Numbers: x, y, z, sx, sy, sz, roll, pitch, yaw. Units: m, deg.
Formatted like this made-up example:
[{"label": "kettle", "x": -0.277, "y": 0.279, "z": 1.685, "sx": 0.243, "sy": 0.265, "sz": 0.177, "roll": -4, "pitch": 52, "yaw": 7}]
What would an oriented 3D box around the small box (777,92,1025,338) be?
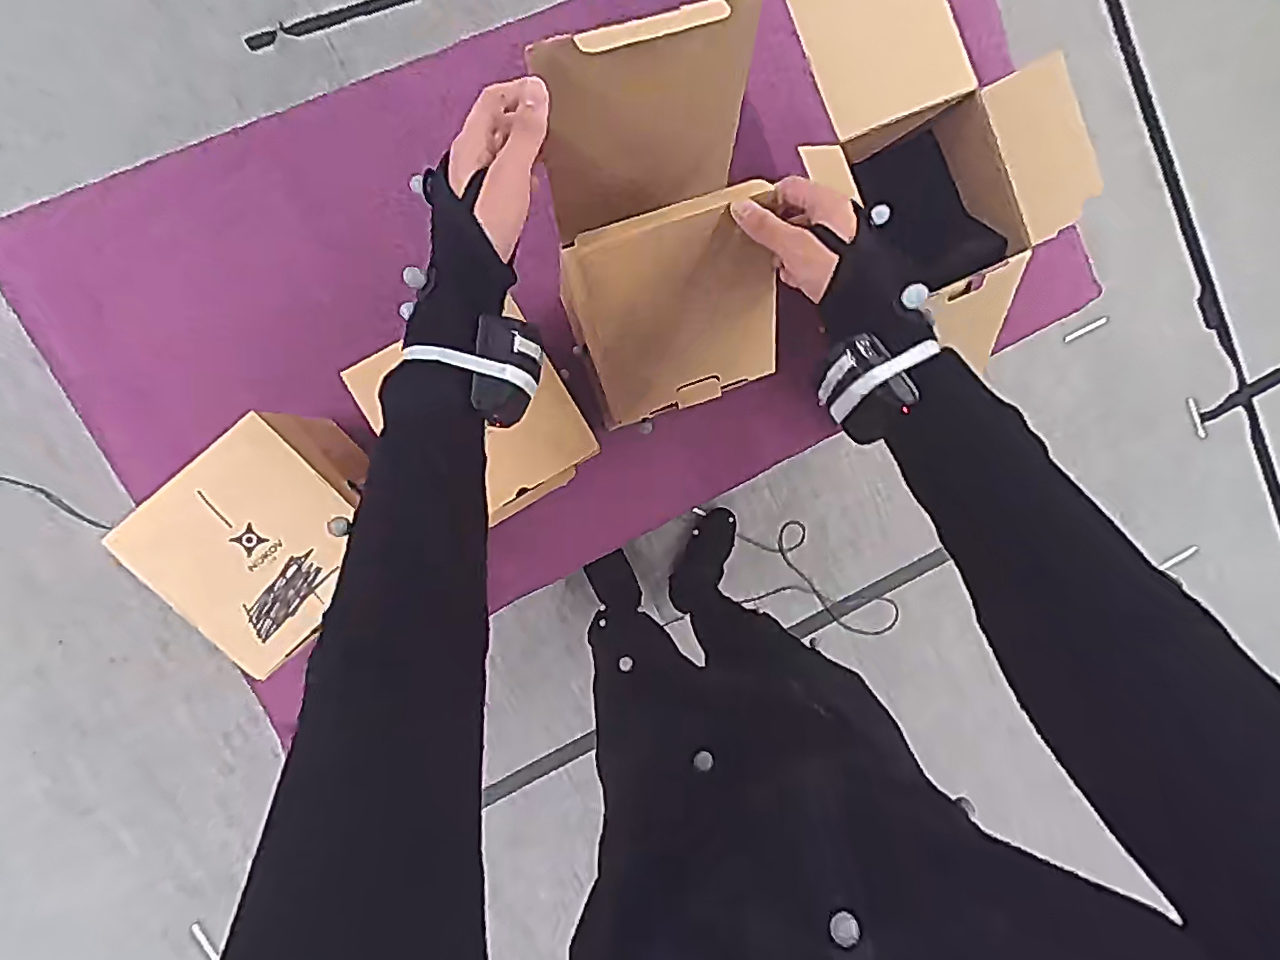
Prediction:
[{"label": "small box", "x": 0.283, "y": -0.287, "z": 0.624, "sx": 0.168, "sy": 0.176, "sz": 0.179, "roll": -24, "pitch": 97, "yaw": -6}]
